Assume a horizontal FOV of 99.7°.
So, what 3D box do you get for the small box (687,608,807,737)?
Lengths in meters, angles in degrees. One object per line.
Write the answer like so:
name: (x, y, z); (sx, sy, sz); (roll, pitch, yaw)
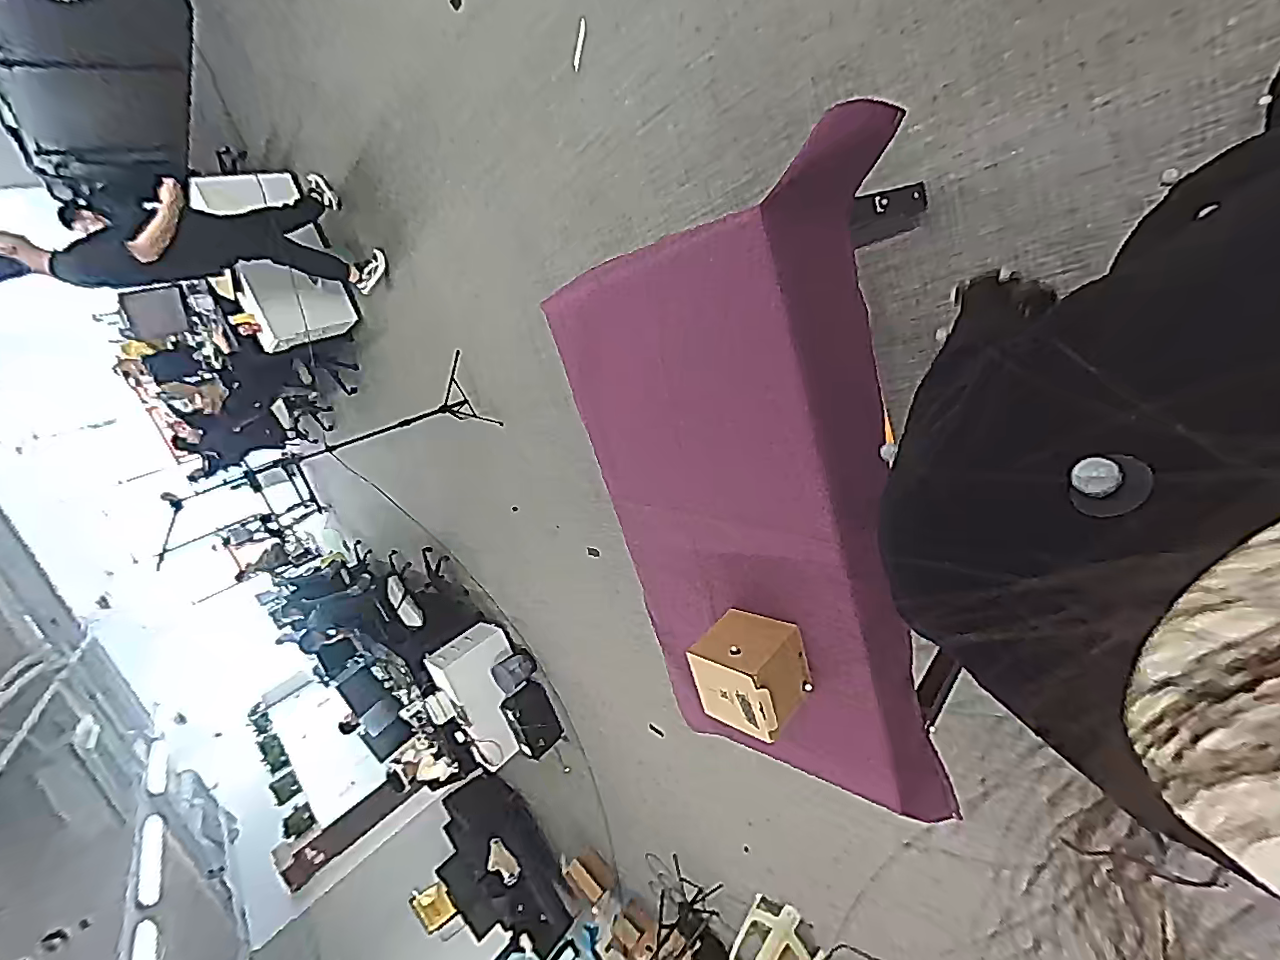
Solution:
small box: (0.232, 0.392, 1.137); (0.179, 0.176, 0.168); (3, 116, 48)
